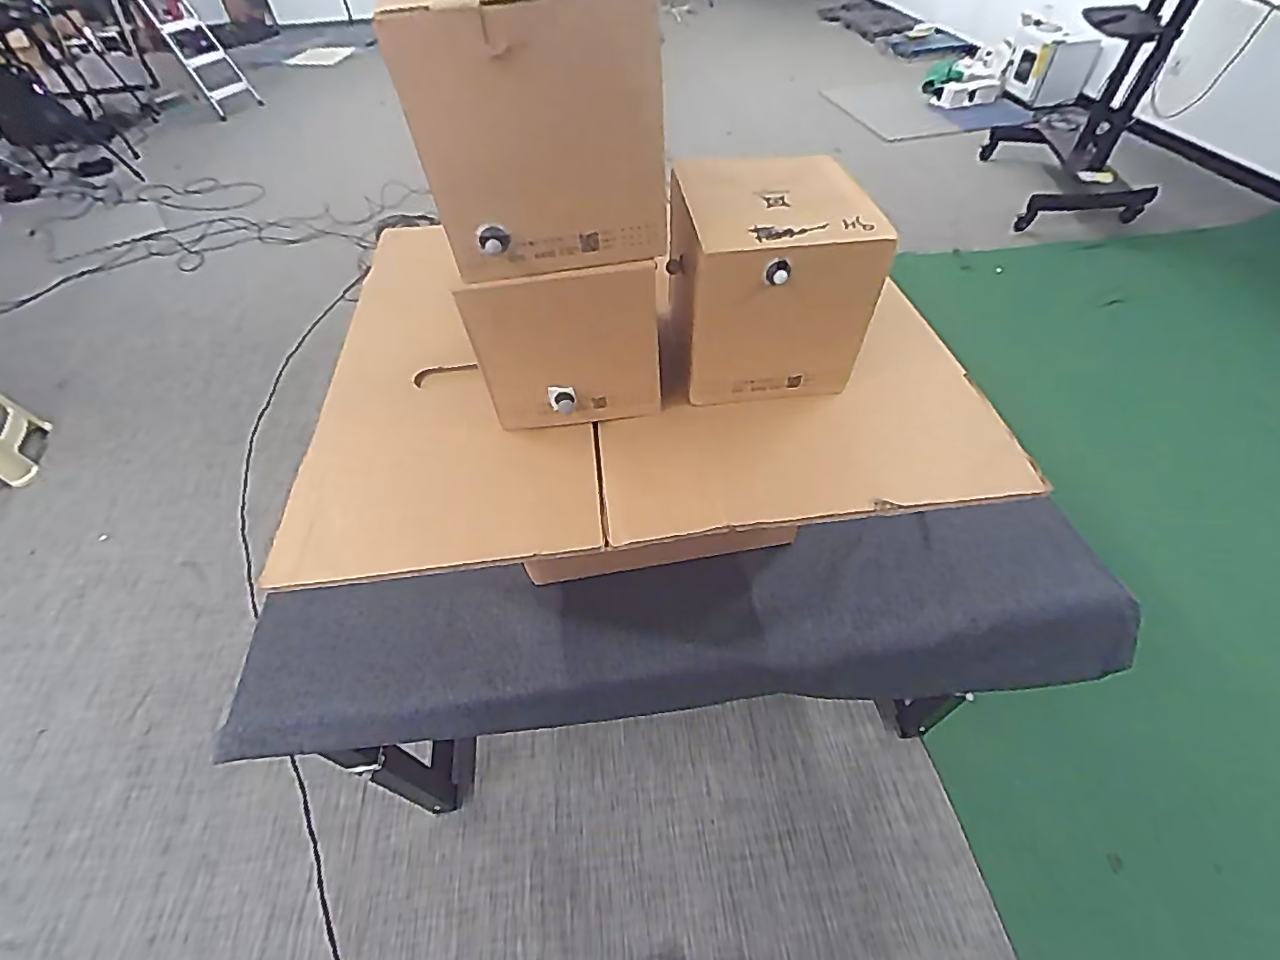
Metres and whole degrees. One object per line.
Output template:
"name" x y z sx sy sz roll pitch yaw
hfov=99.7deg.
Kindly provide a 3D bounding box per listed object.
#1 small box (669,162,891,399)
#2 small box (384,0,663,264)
"small box" 0.123 -0.206 0.562 0.168 0.176 0.179 -5 50 -3
"small box" -0.075 -0.289 0.433 0.168 0.176 0.179 -8 50 -2
